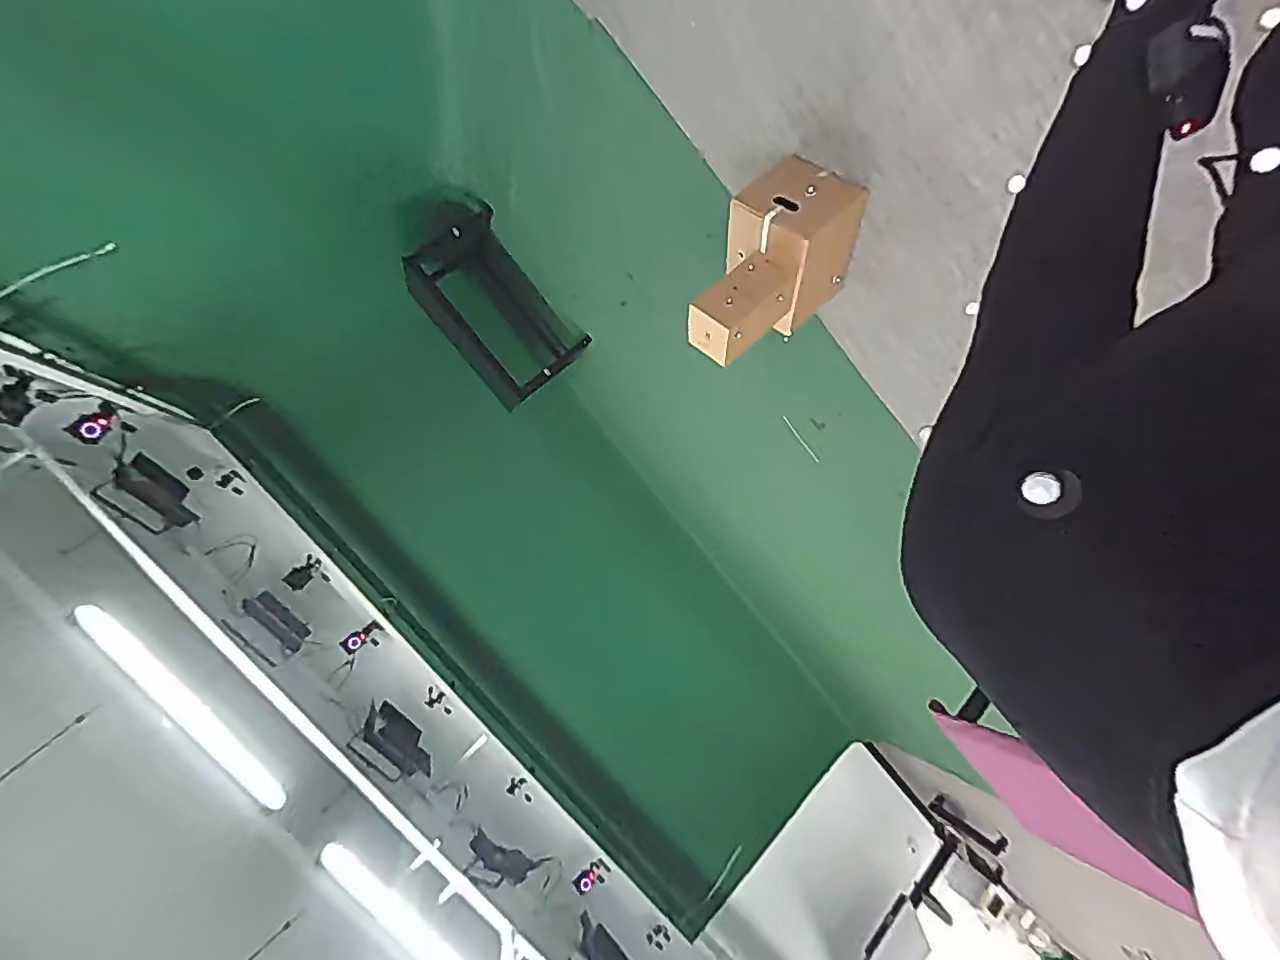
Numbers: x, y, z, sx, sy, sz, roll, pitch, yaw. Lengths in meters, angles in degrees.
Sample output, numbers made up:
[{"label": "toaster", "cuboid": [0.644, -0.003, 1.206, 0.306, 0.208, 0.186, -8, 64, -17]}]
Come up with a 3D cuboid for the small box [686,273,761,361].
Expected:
[{"label": "small box", "cuboid": [0.267, -0.526, 1.736, 0.168, 0.176, 0.179, 42, 163, 21]}]

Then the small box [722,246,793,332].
[{"label": "small box", "cuboid": [0.382, -0.633, 1.782, 0.168, 0.176, 0.179, 40, 163, 23]}]
